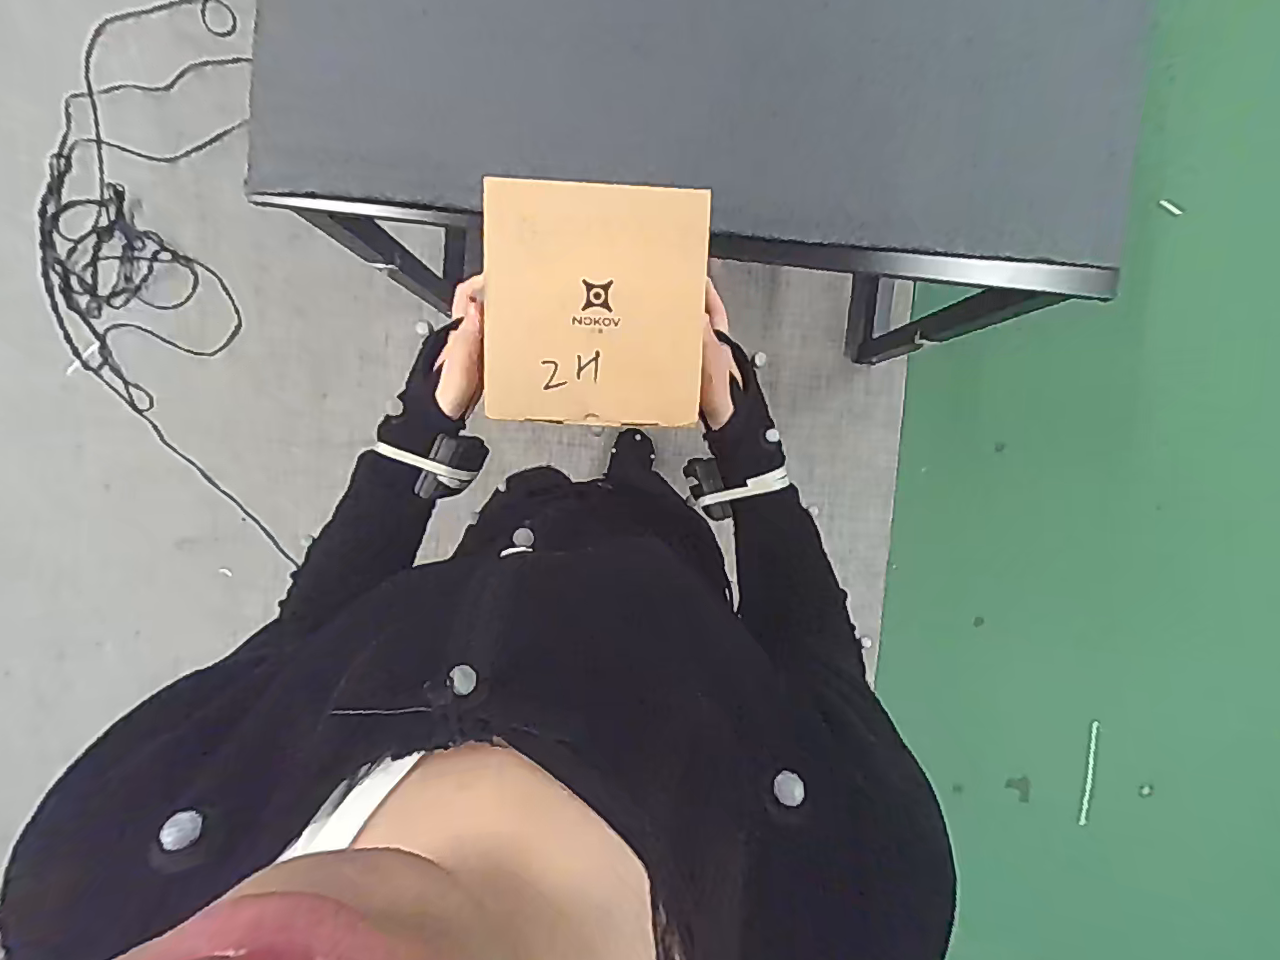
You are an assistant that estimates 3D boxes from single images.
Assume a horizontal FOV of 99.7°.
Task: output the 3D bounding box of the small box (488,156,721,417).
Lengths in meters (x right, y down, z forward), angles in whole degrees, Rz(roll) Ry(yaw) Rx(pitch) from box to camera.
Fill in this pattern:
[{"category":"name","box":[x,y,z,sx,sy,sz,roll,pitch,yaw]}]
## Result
[{"category":"small box","box":[-0.032,-0.148,0.470,0.168,0.176,0.179,2,99,-4]}]
